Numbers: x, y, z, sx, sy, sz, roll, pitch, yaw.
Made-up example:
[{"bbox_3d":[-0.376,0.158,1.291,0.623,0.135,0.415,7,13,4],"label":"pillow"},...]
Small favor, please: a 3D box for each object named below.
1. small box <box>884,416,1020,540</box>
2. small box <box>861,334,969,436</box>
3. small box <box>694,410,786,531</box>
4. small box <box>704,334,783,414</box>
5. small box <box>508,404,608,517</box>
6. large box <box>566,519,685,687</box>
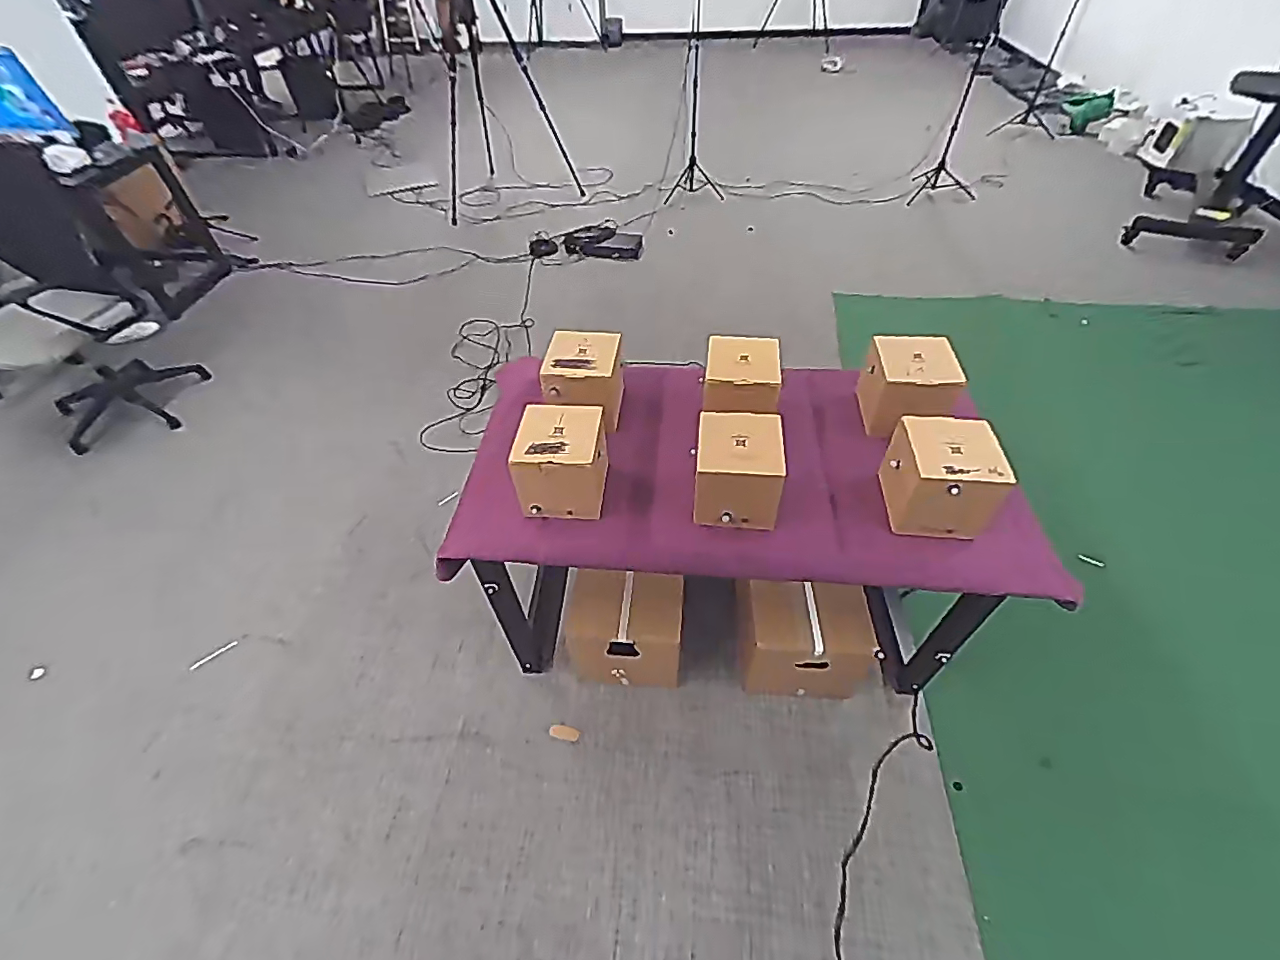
[{"bbox_3d":[0.598,-0.005,1.067,0.168,0.176,0.179,3,46,7],"label":"small box"},{"bbox_3d":[0.626,-0.218,1.257,0.168,0.176,0.179,3,49,7],"label":"small box"},{"bbox_3d":[0.199,-0.020,1.102,0.168,0.176,0.179,3,48,7],"label":"small box"},{"bbox_3d":[0.241,-0.222,1.284,0.168,0.176,0.179,5,50,6],"label":"small box"},{"bbox_3d":[-0.162,-0.039,1.134,0.168,0.176,0.179,2,46,4],"label":"small box"},{"bbox_3d":[-0.023,0.373,1.650,0.320,0.320,0.408,3,47,5],"label":"large box"}]
